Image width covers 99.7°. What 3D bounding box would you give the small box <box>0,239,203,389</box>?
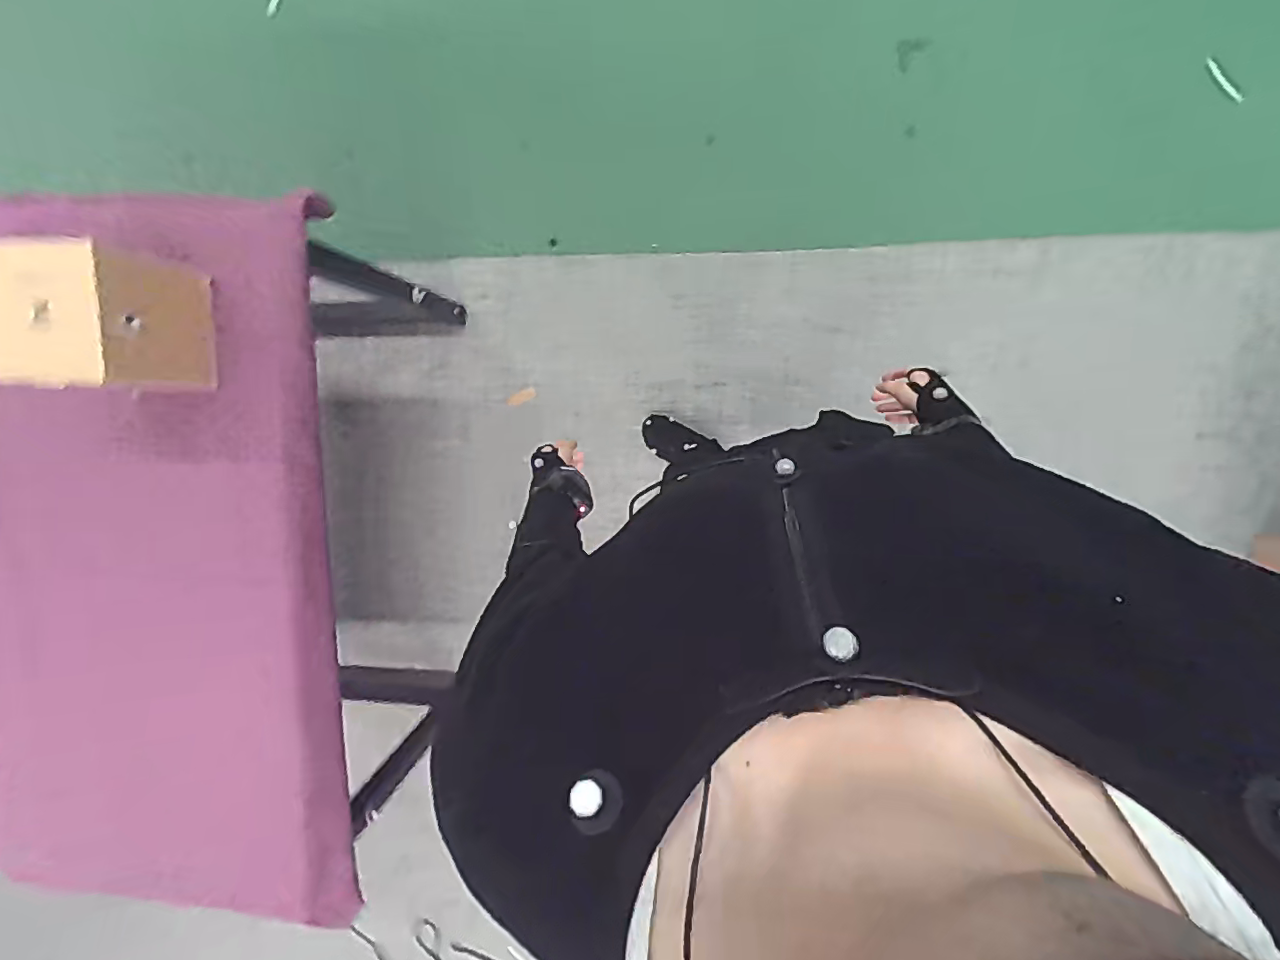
[{"bbox_3d":[-0.749,-0.217,0.745,0.168,0.176,0.179,3,98,6],"label":"small box"}]
